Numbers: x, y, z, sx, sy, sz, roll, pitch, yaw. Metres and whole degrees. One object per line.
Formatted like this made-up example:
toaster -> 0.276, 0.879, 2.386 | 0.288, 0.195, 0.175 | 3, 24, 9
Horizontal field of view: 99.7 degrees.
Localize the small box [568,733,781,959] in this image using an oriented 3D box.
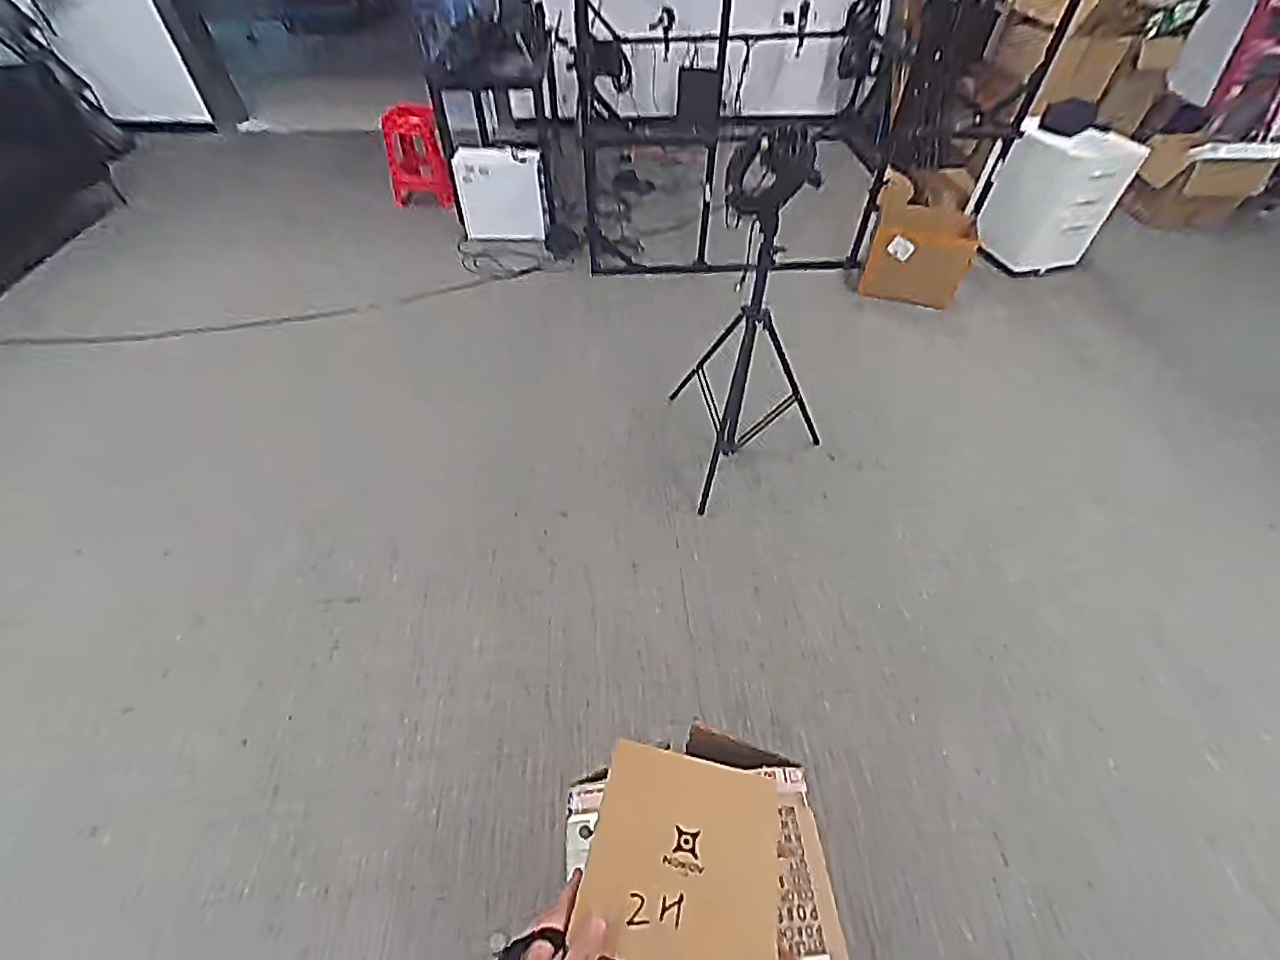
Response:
small box -> 0.032, 0.383, 0.514 | 0.168, 0.176, 0.179 | 11, 36, 7
